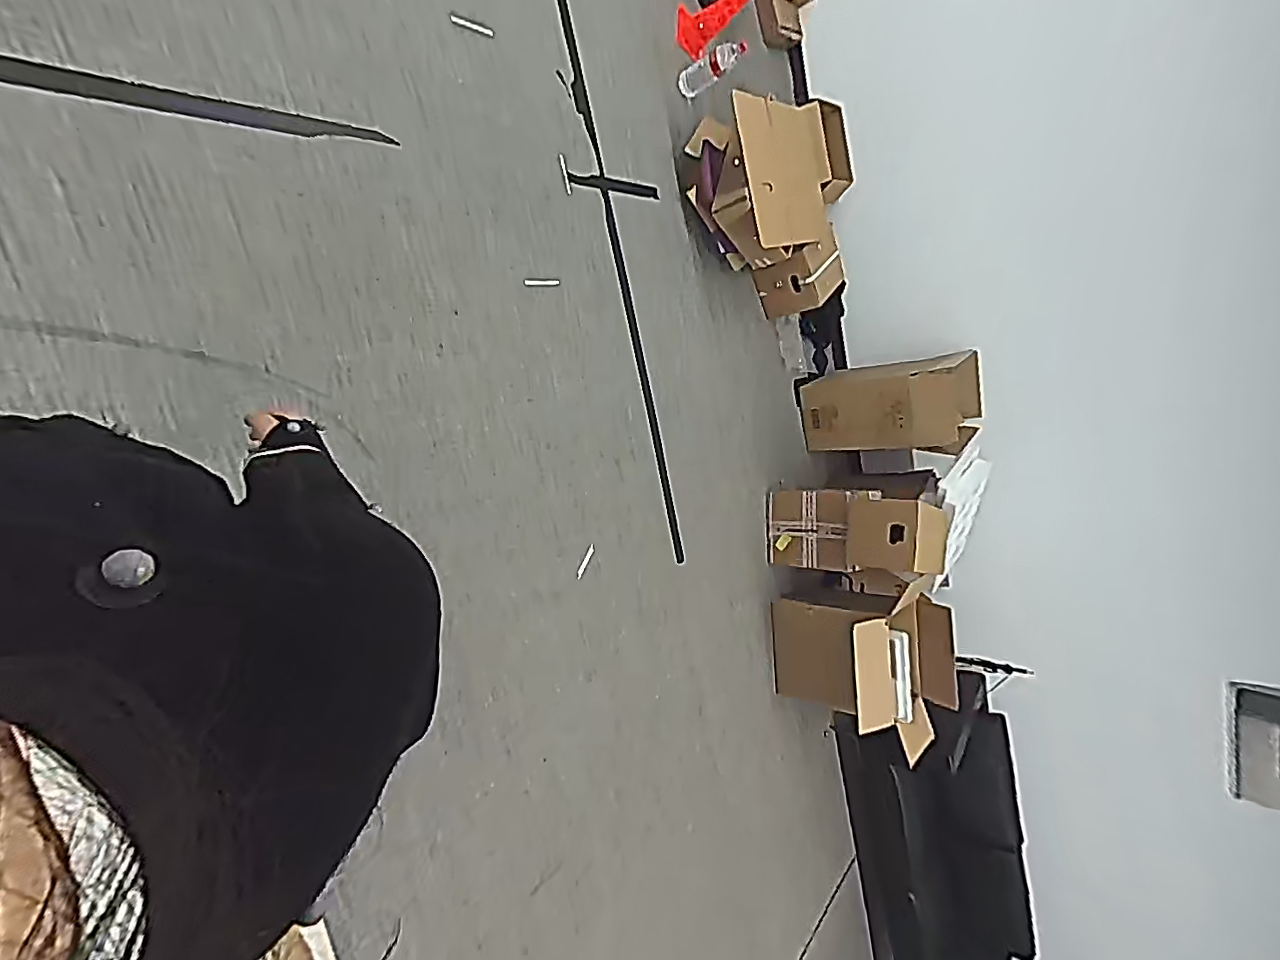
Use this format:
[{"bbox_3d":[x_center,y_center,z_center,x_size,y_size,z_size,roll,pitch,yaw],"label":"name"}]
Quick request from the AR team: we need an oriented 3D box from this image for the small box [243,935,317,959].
[{"bbox_3d":[-0.497,0.746,0.697,0.168,0.176,0.179,-15,99,-46],"label":"small box"}]
